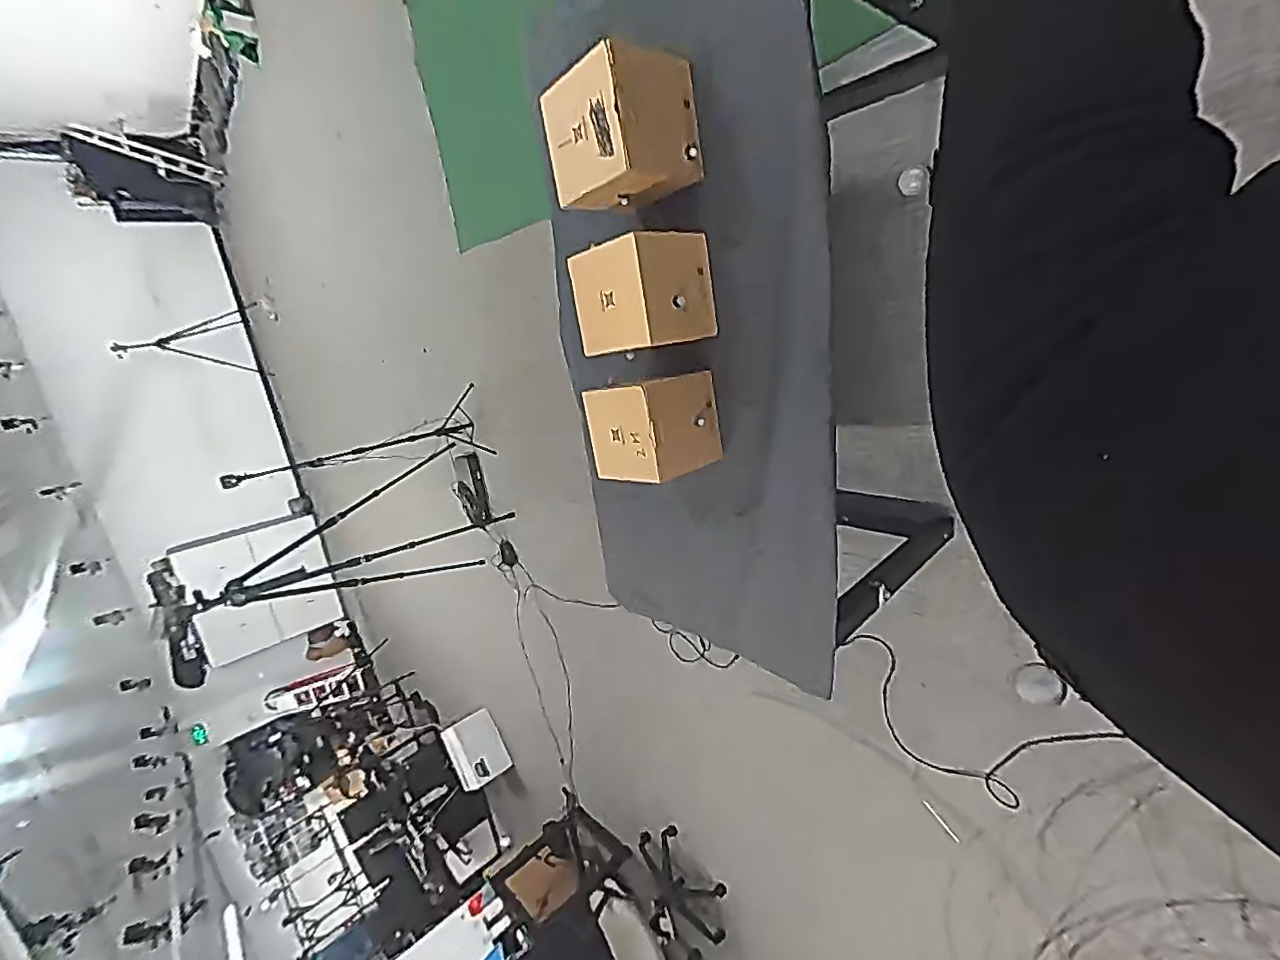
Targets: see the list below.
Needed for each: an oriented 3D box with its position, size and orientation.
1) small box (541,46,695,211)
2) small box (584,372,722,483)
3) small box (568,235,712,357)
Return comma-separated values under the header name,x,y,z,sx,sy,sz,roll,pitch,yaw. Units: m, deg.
name,x,y,z,sx,sy,sz,roll,pitch,yaw
small box,-0.027,-0.540,0.857,0.179,0.176,0.168,6,111,49
small box,0.026,-0.100,0.995,0.179,0.176,0.168,5,110,49
small box,0.008,-0.312,0.922,0.179,0.176,0.168,6,111,49
